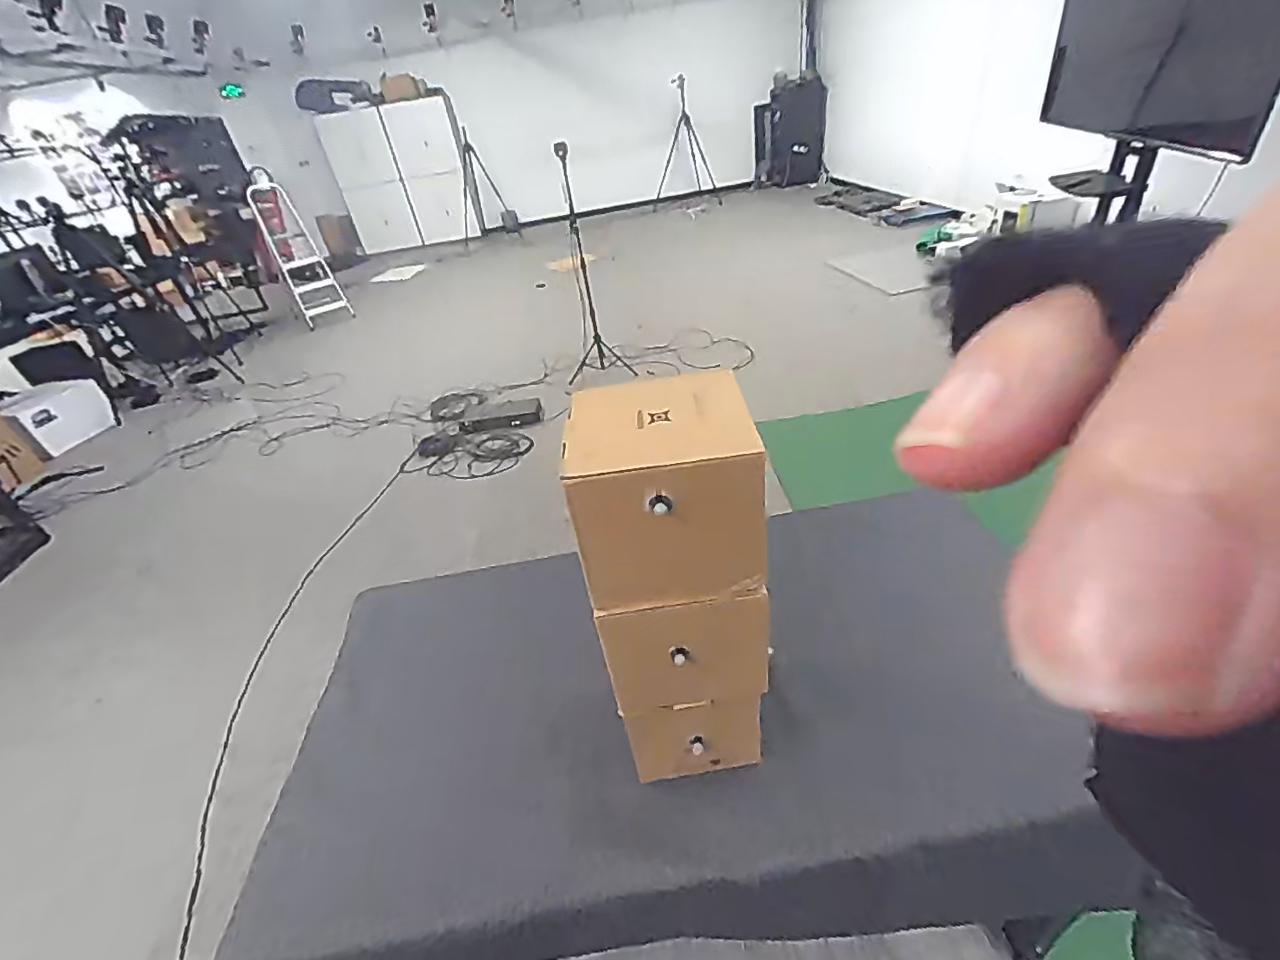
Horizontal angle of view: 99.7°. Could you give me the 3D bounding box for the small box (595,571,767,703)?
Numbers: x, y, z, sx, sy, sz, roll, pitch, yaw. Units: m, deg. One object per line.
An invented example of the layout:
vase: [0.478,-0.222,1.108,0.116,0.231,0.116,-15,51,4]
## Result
small box: [0.048,0.139,0.647,0.179,0.176,0.168,-10,35,3]

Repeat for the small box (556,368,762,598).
small box: [0.024,0.005,0.561,0.179,0.176,0.168,-8,36,3]

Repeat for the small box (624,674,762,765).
small box: [0.067,0.268,0.749,0.168,0.176,0.179,-11,36,0]
